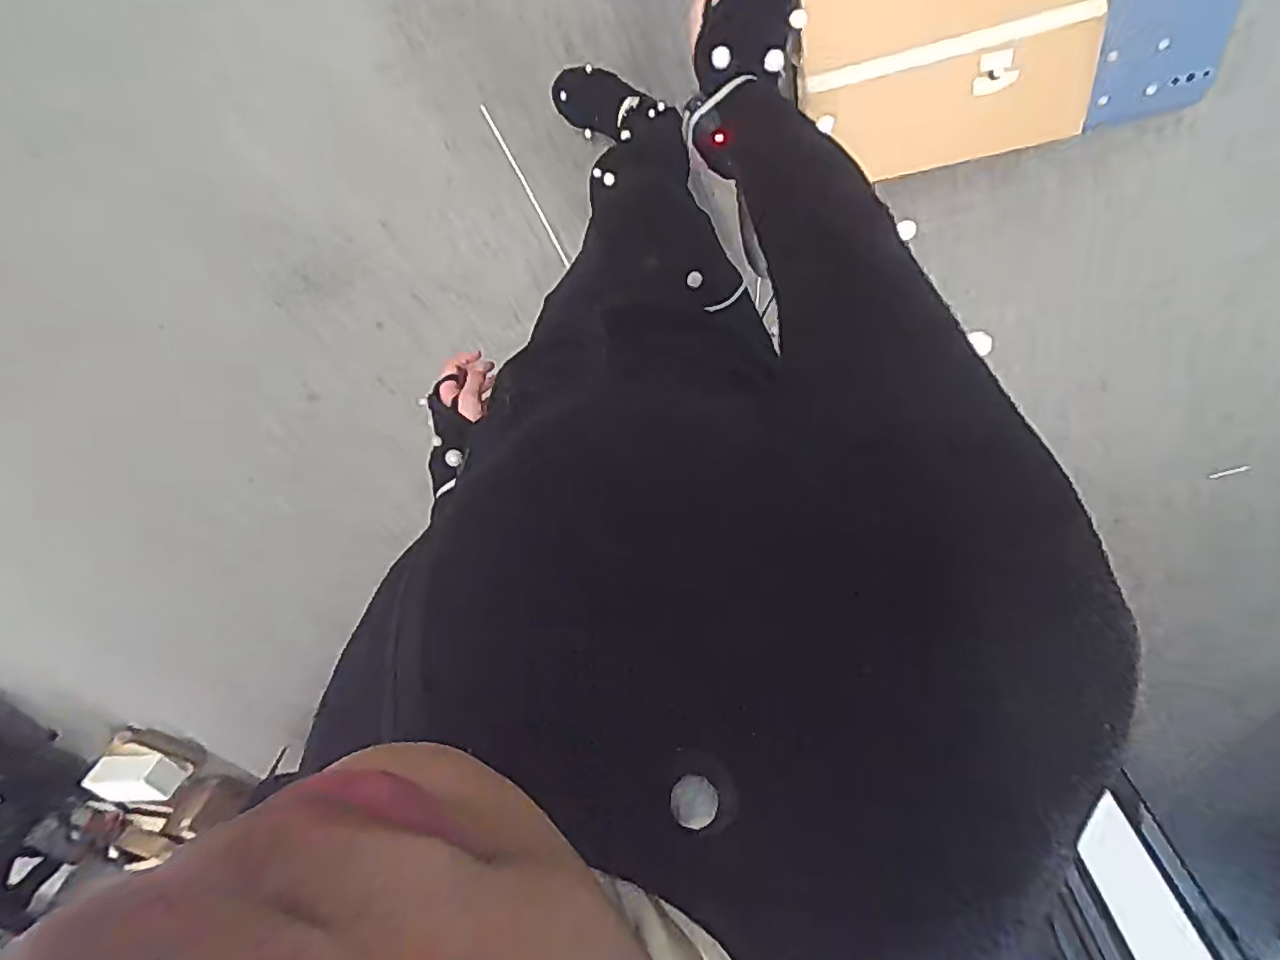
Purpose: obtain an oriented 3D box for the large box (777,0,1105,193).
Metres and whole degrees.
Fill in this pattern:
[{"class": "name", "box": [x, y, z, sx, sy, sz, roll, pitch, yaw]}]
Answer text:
[{"class": "large box", "box": [0.462, -0.720, 0.906, 0.408, 0.320, 0.320, -8, 126, 12]}]
